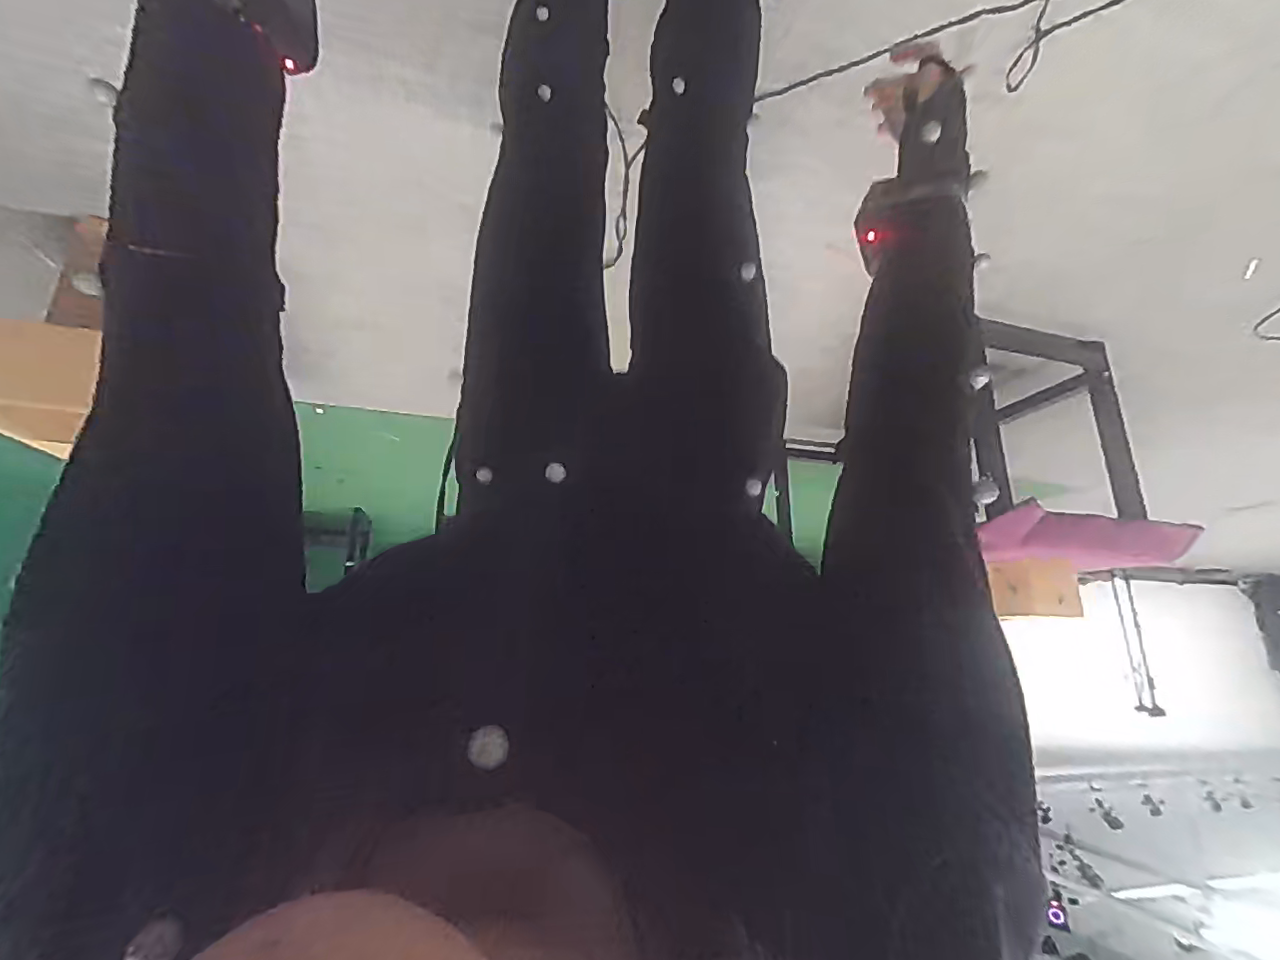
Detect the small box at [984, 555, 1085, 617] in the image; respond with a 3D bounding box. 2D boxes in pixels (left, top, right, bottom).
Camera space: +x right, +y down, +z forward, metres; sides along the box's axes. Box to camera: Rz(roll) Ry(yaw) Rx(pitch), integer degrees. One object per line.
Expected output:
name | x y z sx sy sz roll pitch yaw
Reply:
small box | 1.184 0.321 1.637 0.179 0.176 0.168 4 163 -13
